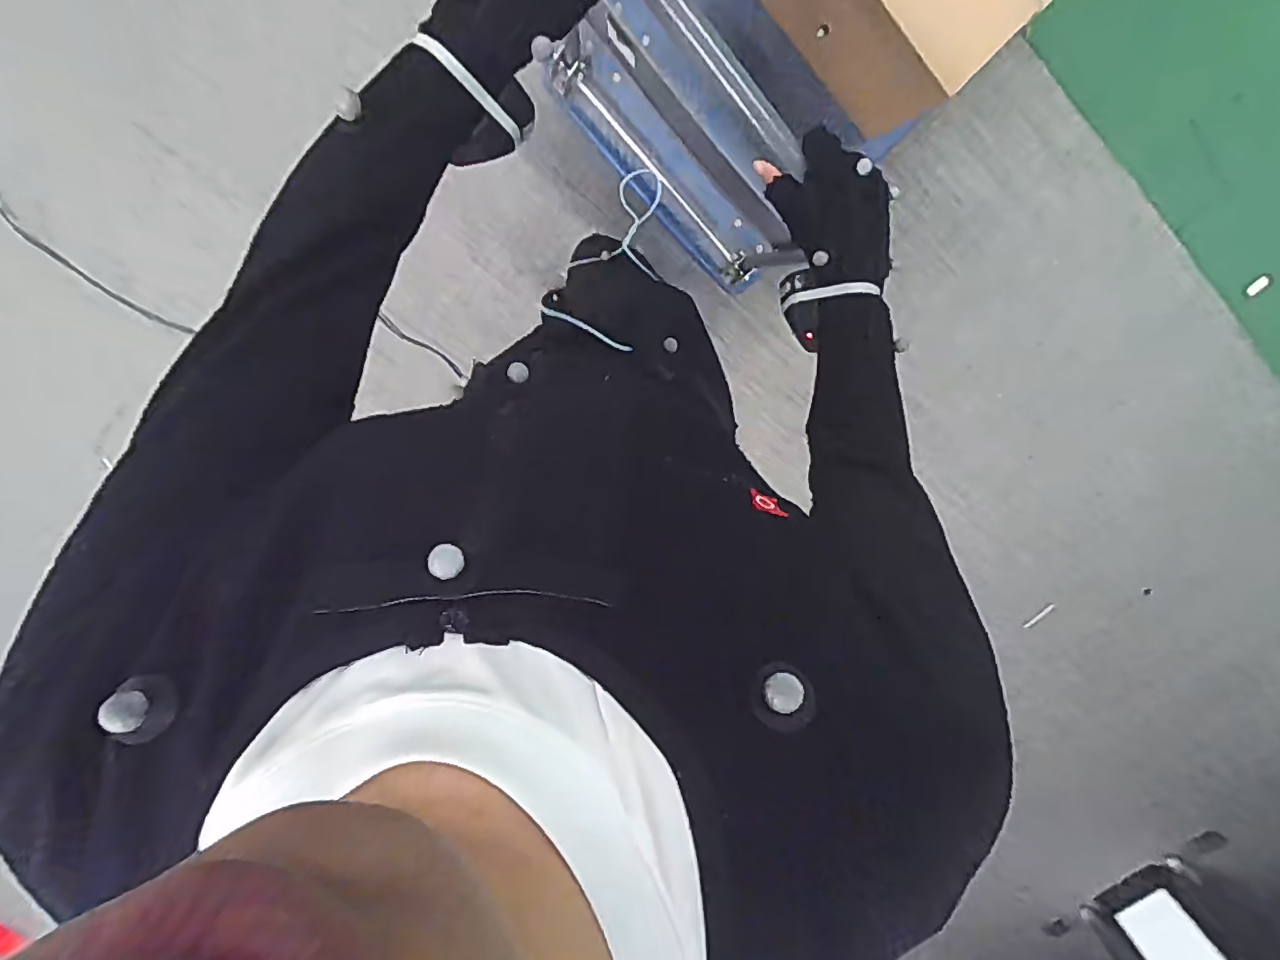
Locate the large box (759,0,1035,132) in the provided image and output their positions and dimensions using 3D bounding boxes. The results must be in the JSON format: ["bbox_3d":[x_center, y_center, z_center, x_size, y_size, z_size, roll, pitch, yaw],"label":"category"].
[{"bbox_3d":[0.408,-0.847,0.839,0.408,0.320,0.320,40,106,-15],"label":"large box"}]
